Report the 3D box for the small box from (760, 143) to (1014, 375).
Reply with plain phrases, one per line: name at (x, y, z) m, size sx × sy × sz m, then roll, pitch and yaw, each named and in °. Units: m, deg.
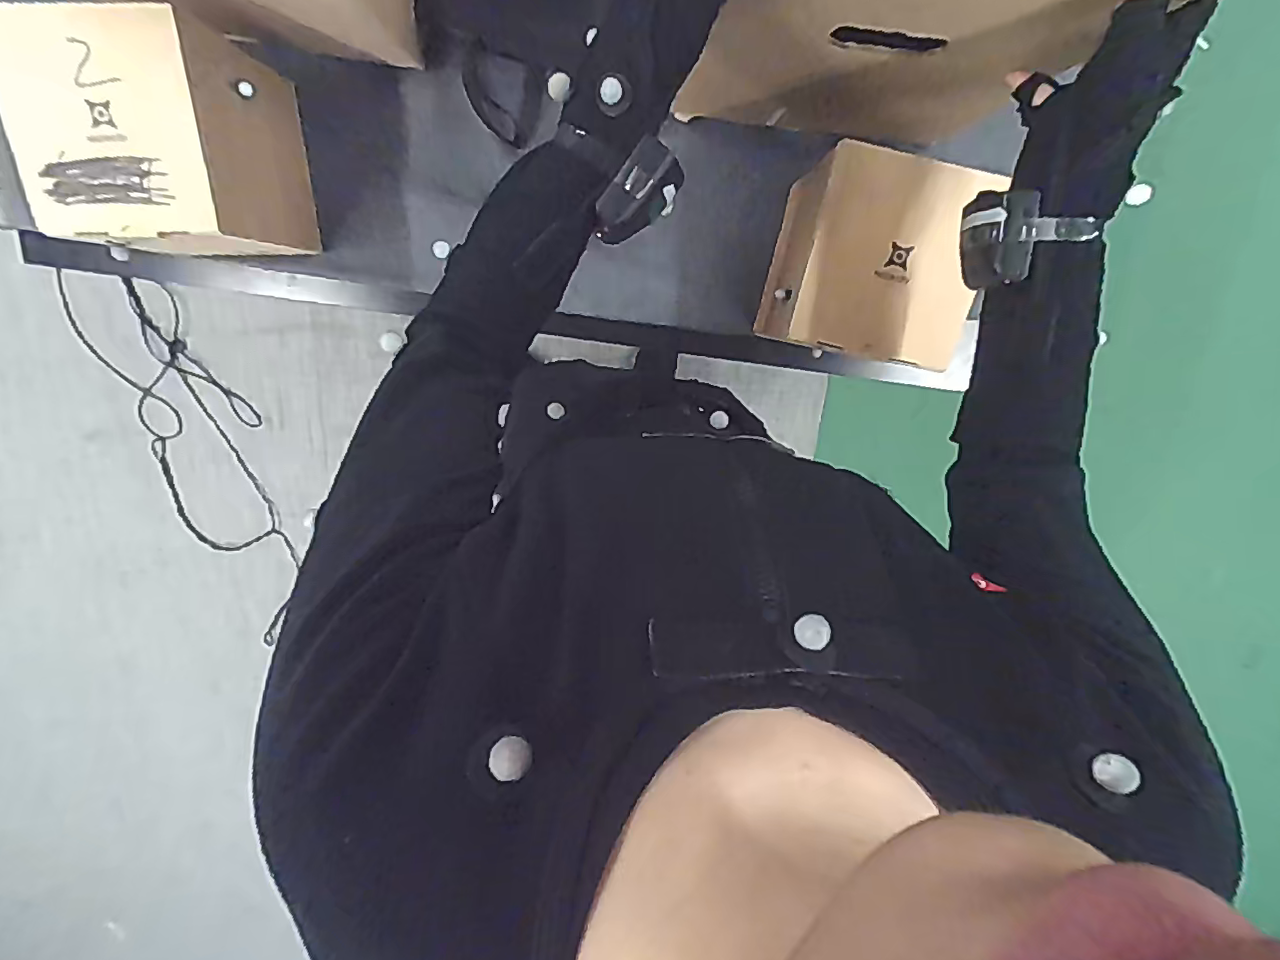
small box at (0.241, -0.224, 0.581) m, size 0.168 × 0.176 × 0.179 m, roll 12°, pitch 108°, yaw -3°
